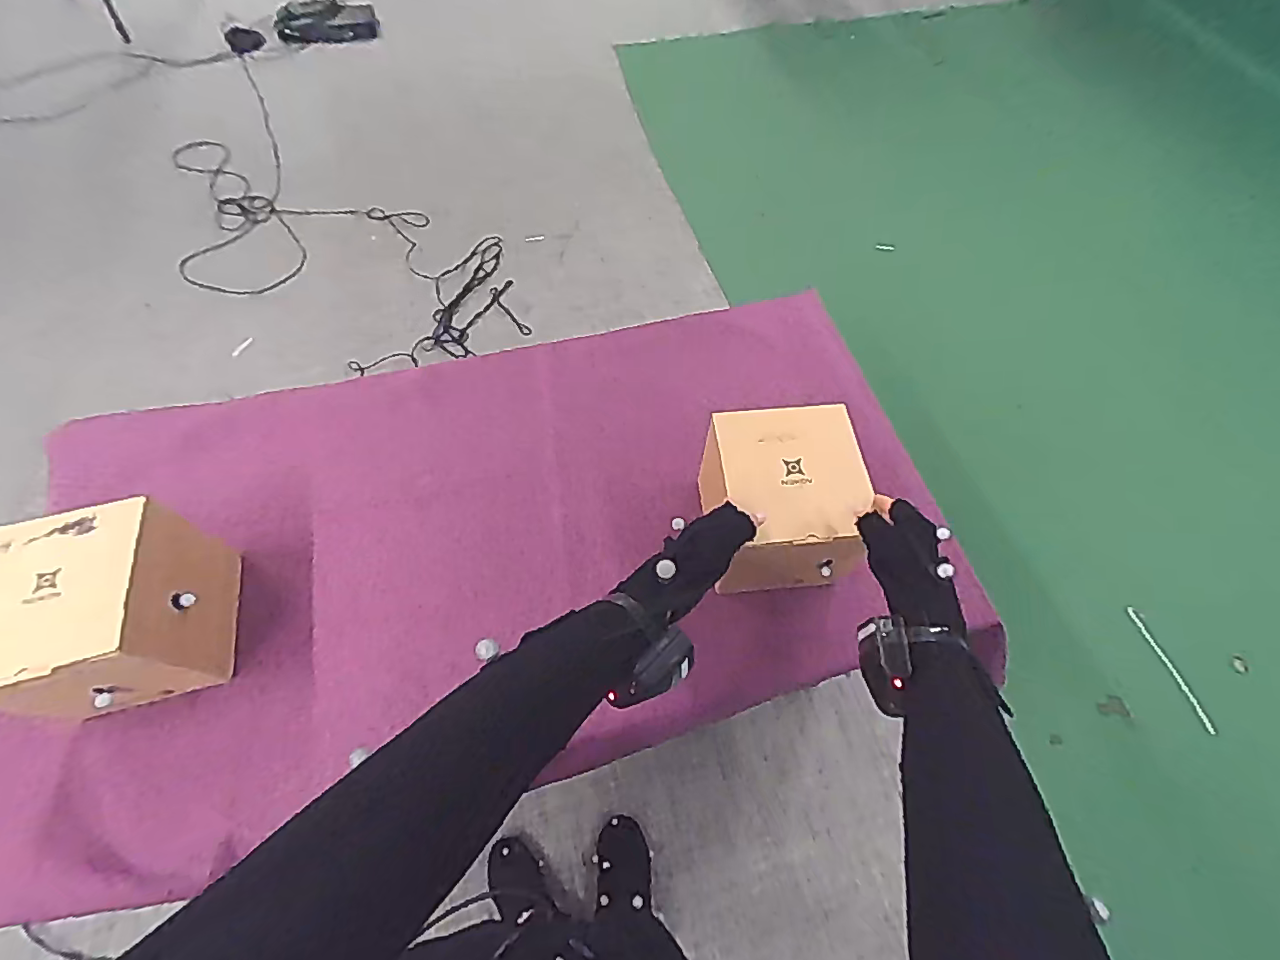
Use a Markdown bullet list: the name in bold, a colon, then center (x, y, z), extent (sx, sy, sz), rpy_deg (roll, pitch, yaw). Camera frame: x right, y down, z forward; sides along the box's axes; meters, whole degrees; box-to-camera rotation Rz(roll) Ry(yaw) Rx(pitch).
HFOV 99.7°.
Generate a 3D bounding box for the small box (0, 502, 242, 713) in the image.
- **small box**: center (-0.587, 0.152, 0.608), extent (0.168, 0.176, 0.179), rpy_deg (-13, 62, -8)

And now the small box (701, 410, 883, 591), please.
- **small box**: center (0.174, 0.035, 0.681), extent (0.168, 0.176, 0.179), rpy_deg (-4, 61, -3)
